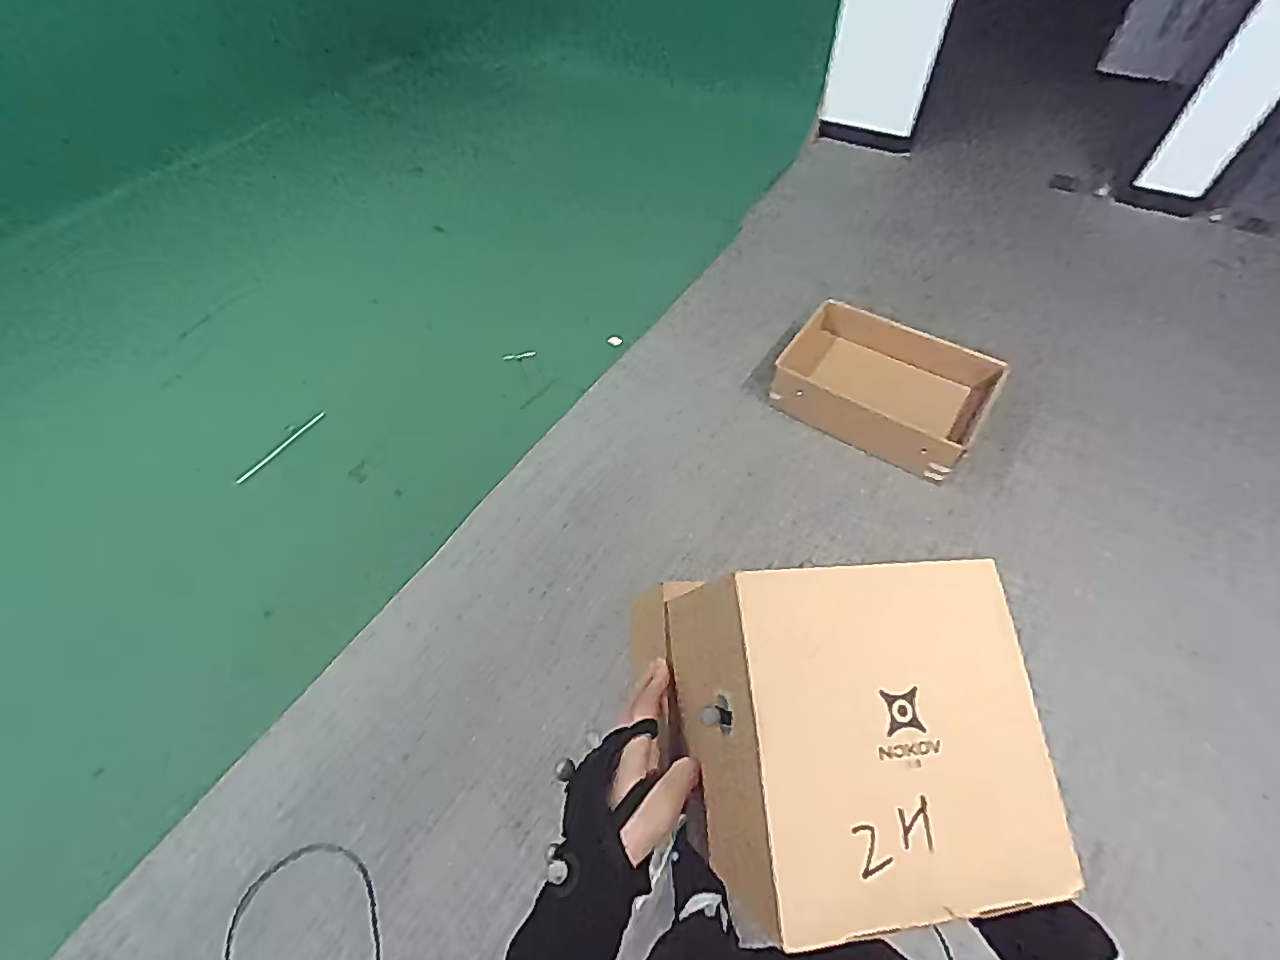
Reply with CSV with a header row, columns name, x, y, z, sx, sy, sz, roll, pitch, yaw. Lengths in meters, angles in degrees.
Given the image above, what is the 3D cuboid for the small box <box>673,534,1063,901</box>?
name,x,y,z,sx,sy,sz,roll,pitch,yaw
small box,0.121,0.140,0.366,0.168,0.176,0.179,0,72,-9
